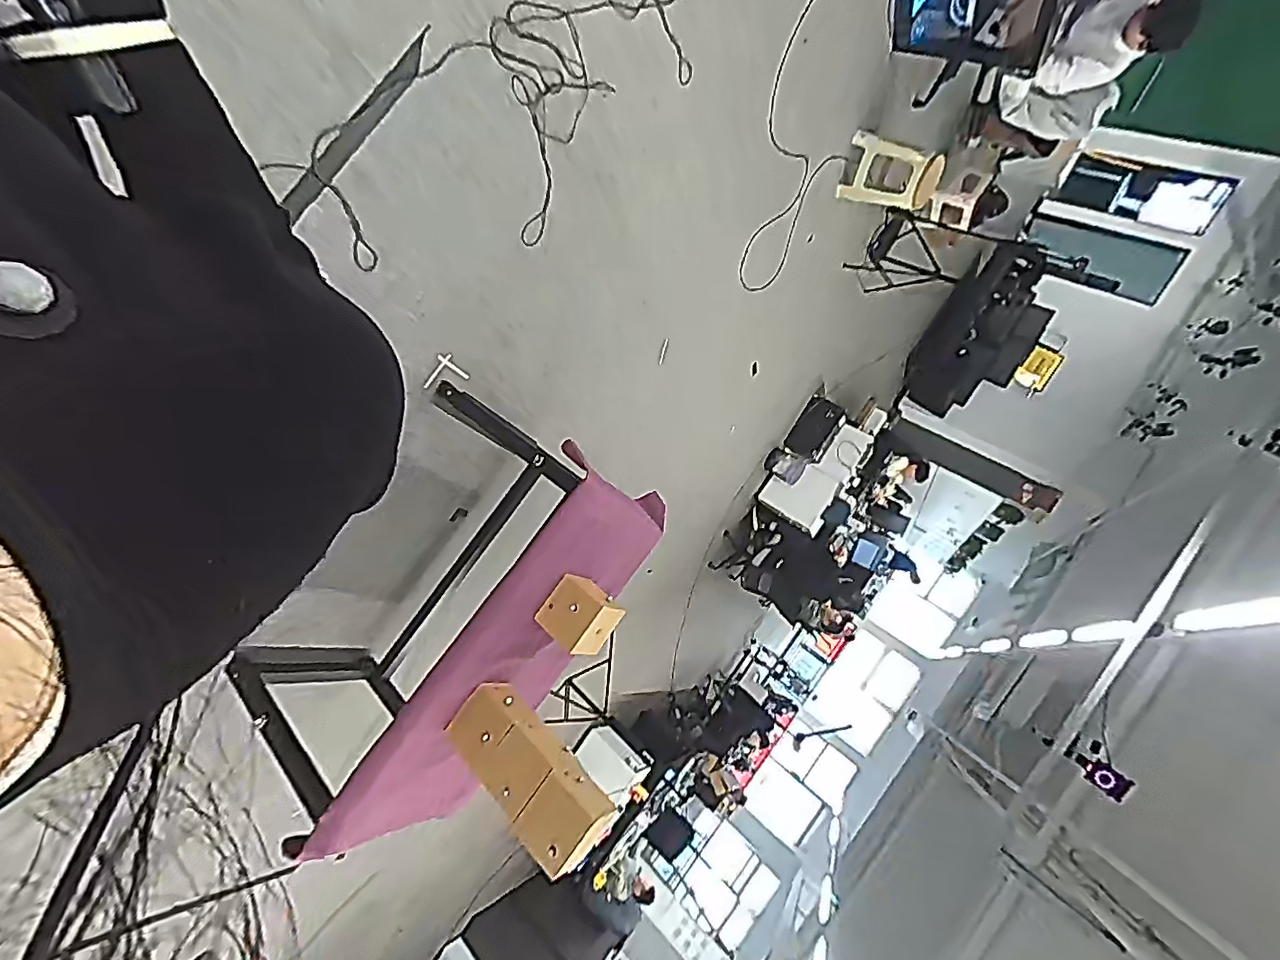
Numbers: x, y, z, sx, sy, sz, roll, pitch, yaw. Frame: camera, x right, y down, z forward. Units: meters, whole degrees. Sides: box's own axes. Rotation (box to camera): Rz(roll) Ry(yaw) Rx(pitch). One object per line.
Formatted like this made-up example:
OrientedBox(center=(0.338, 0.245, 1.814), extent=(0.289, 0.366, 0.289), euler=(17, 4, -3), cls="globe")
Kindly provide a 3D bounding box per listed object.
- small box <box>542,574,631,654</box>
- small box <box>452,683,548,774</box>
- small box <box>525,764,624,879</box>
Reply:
OrientedBox(center=(-0.164, 0.405, 1.639), extent=(0.168, 0.176, 0.179), euler=(-55, 153, -2), cls="small box")
OrientedBox(center=(-0.412, 0.719, 1.586), extent=(0.179, 0.176, 0.168), euler=(-53, 151, -4), cls="small box")
OrientedBox(center=(-0.178, 0.890, 1.428), extent=(0.179, 0.176, 0.168), euler=(-54, 152, -5), cls="small box")
